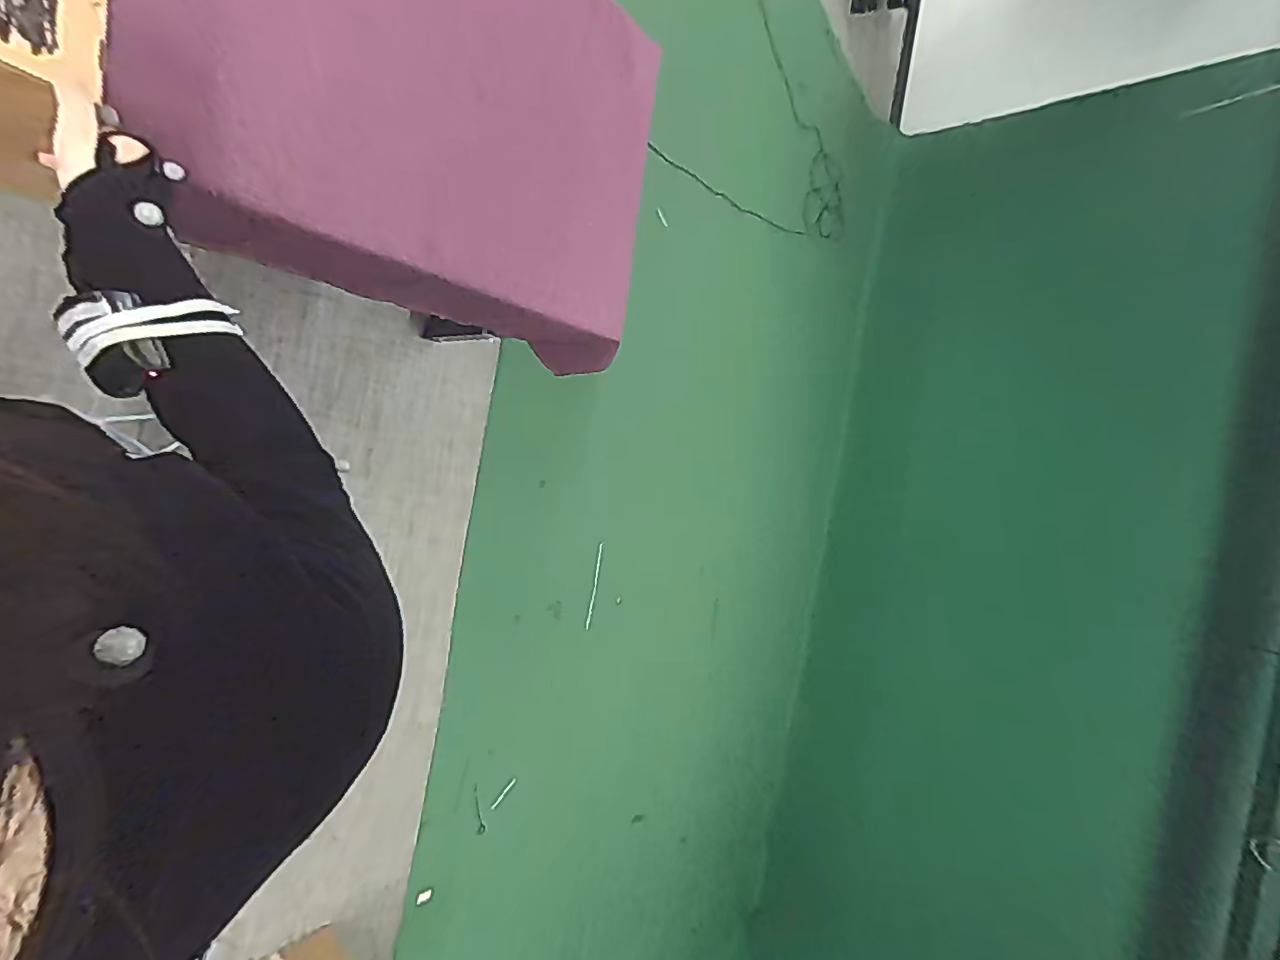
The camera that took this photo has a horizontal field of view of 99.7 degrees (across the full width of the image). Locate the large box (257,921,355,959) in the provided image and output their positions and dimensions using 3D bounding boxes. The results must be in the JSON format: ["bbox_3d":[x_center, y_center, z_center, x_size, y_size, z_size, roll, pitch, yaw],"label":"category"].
[{"bbox_3d":[-0.926,1.508,1.403,0.320,0.320,0.408,6,94,-51],"label":"large box"}]
